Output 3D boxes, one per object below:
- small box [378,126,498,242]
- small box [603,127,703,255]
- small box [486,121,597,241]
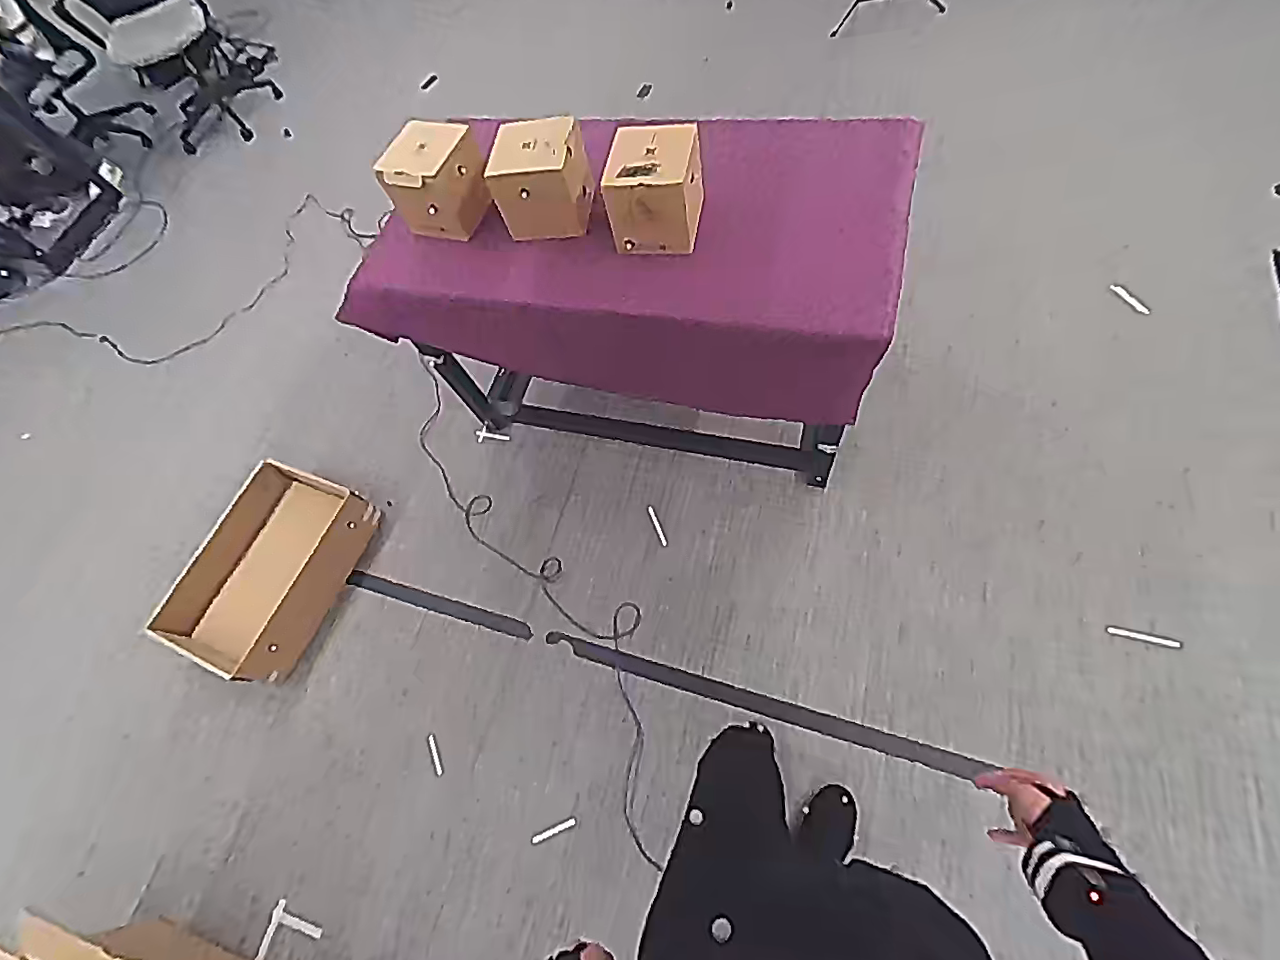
[{"bbox_3d":[-0.460,-0.687,1.265,0.168,0.176,0.179,15,69,17],"label":"small box"},{"bbox_3d":[0.036,-0.591,1.123,0.168,0.176,0.179,6,66,14],"label":"small box"},{"bbox_3d":[-0.210,-0.654,1.200,0.179,0.176,0.168,2,66,12],"label":"small box"}]
